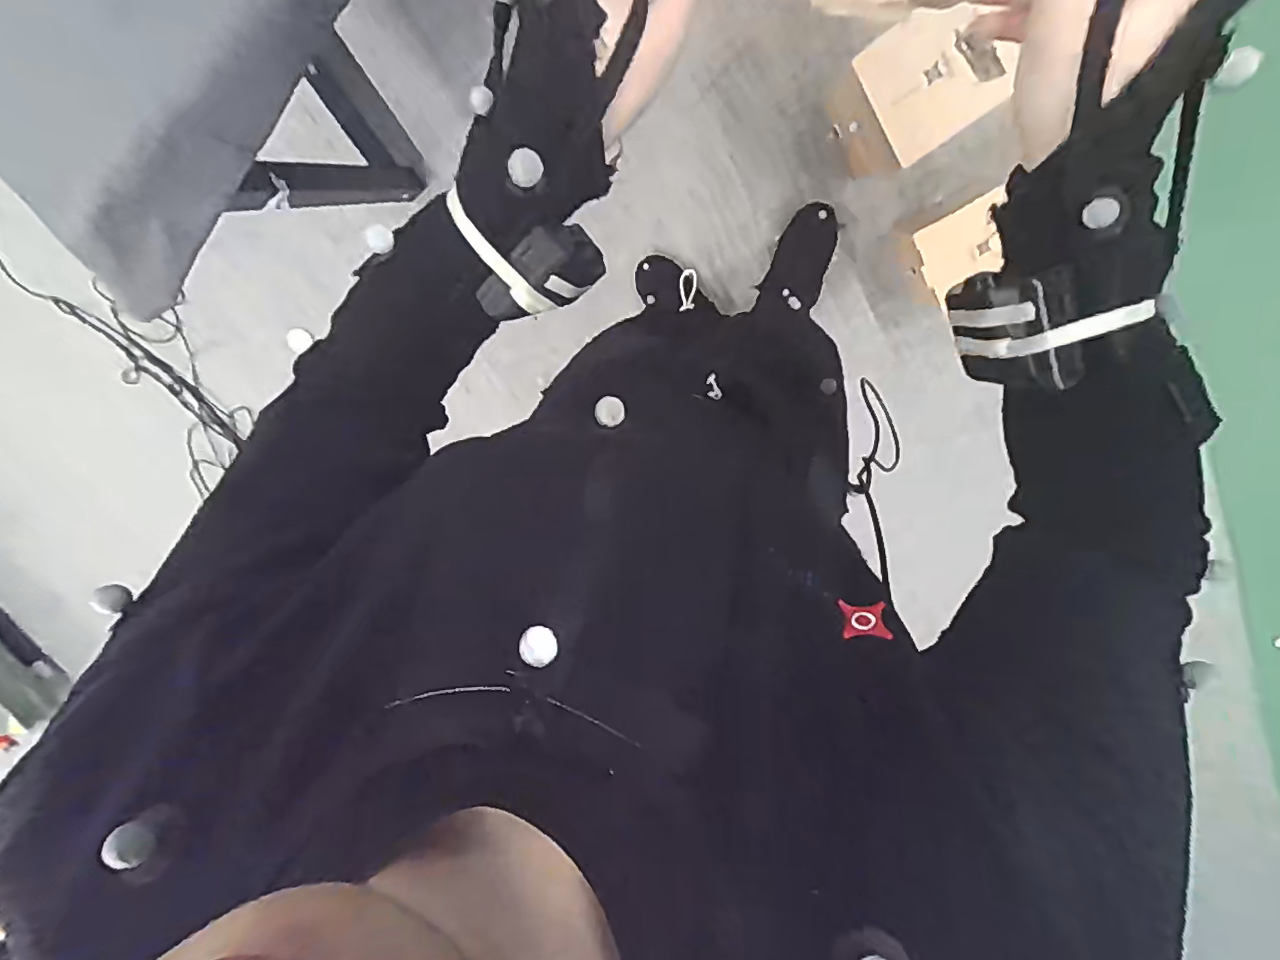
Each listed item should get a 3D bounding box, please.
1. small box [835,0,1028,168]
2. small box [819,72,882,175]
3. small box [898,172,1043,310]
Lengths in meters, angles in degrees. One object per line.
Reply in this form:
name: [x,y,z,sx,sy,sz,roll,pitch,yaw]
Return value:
small box: [0.410,-0.588,0.789,0.179,0.176,0.168,-30,108,24]
small box: [0.433,-0.660,0.934,0.179,0.176,0.168,-30,108,24]
small box: [0.606,-0.450,1.017,0.179,0.176,0.168,-24,112,23]
